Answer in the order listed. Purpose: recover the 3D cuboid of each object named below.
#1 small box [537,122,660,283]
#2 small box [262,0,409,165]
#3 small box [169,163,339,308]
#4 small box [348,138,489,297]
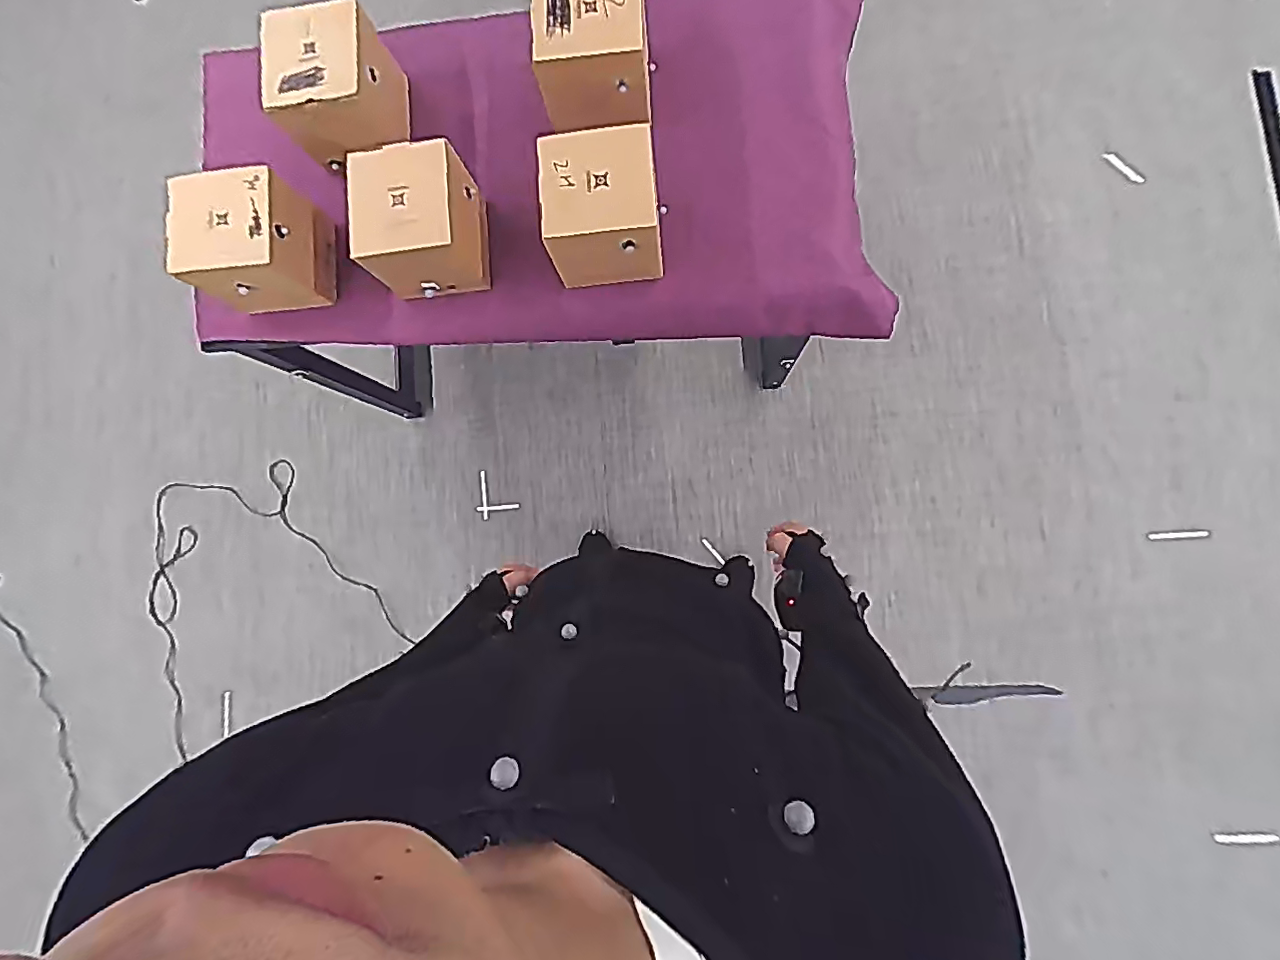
[{"bbox_3d":[-0.059,-0.441,0.885,0.179,0.176,0.168,-4,84,5],"label":"small box"},{"bbox_3d":[-0.525,-0.685,0.952,0.168,0.176,0.179,-5,85,5],"label":"small box"},{"bbox_3d":[-0.660,-0.412,0.940,0.179,0.176,0.168,-4,85,5],"label":"small box"},{"bbox_3d":[-0.366,-0.434,0.917,0.168,0.176,0.179,-5,86,5],"label":"small box"}]
